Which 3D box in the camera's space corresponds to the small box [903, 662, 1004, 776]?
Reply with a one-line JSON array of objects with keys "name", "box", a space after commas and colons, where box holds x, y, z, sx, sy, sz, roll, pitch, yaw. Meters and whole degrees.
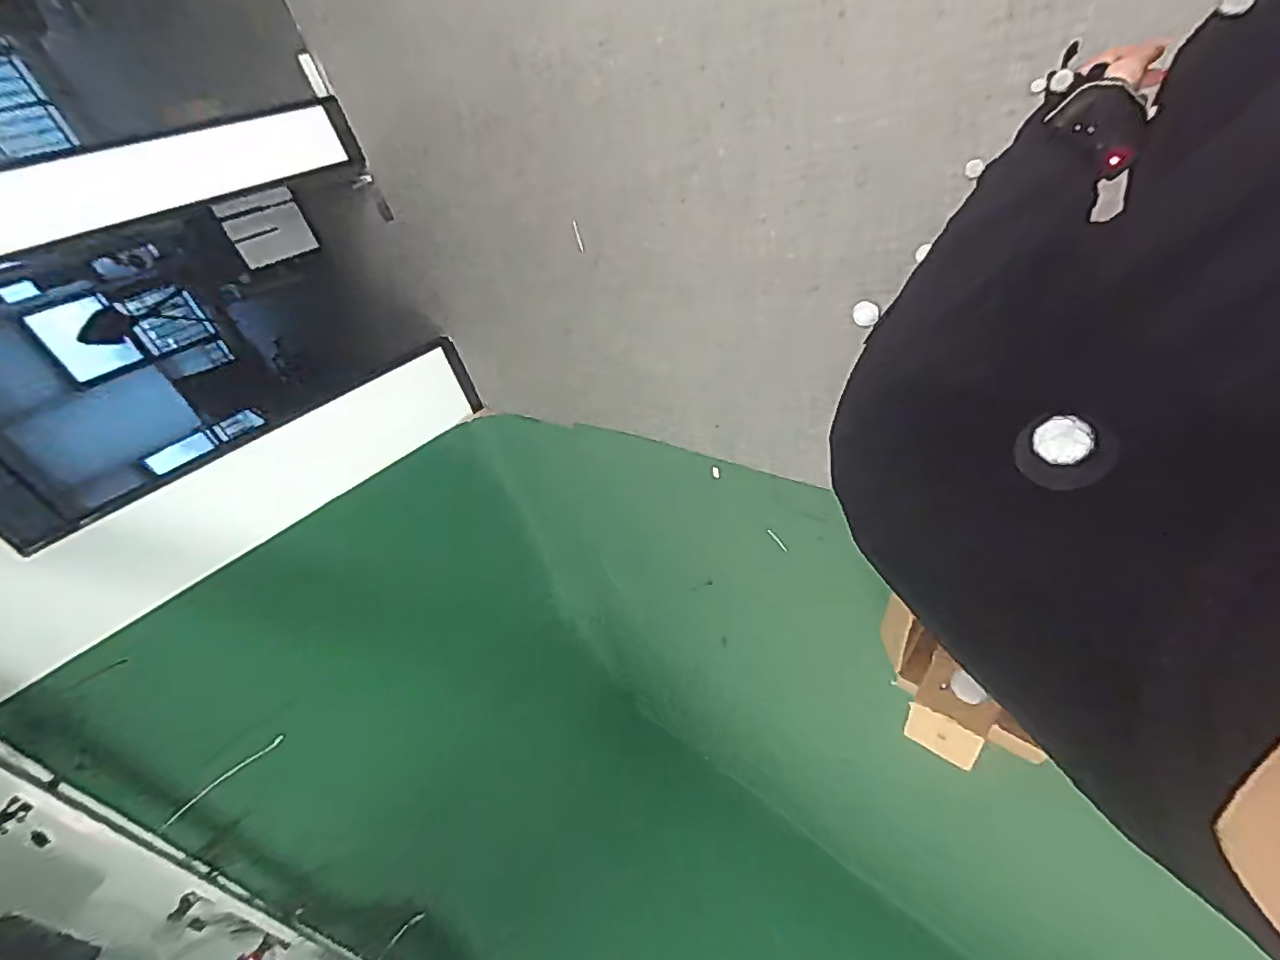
[{"name": "small box", "box": [0.803, 0.605, 1.385, 0.168, 0.176, 0.179, 24, 140, 38]}]
